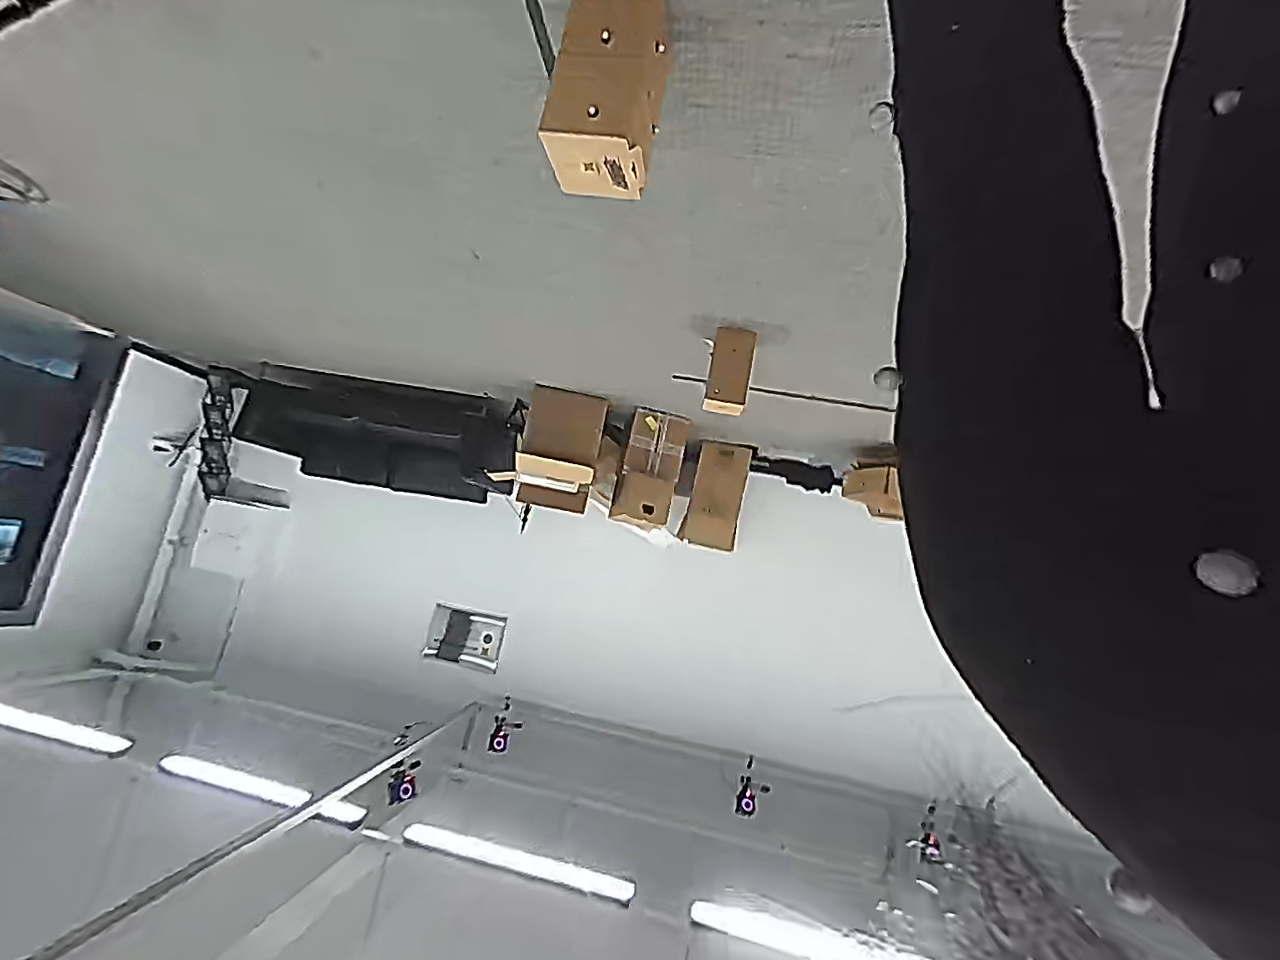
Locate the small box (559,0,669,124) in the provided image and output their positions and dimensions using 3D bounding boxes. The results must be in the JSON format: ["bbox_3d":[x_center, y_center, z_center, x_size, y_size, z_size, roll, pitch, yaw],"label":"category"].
[{"bbox_3d":[-0.042,-0.857,1.086,0.179,0.176,0.168,11,172,12],"label":"small box"}]

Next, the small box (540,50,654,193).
[{"bbox_3d":[-0.074,-0.697,1.059,0.179,0.176,0.168,10,172,11],"label":"small box"}]

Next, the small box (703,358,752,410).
[{"bbox_3d":[0.383,-0.425,2.376,0.179,0.176,0.168,10,173,4],"label":"small box"}]
